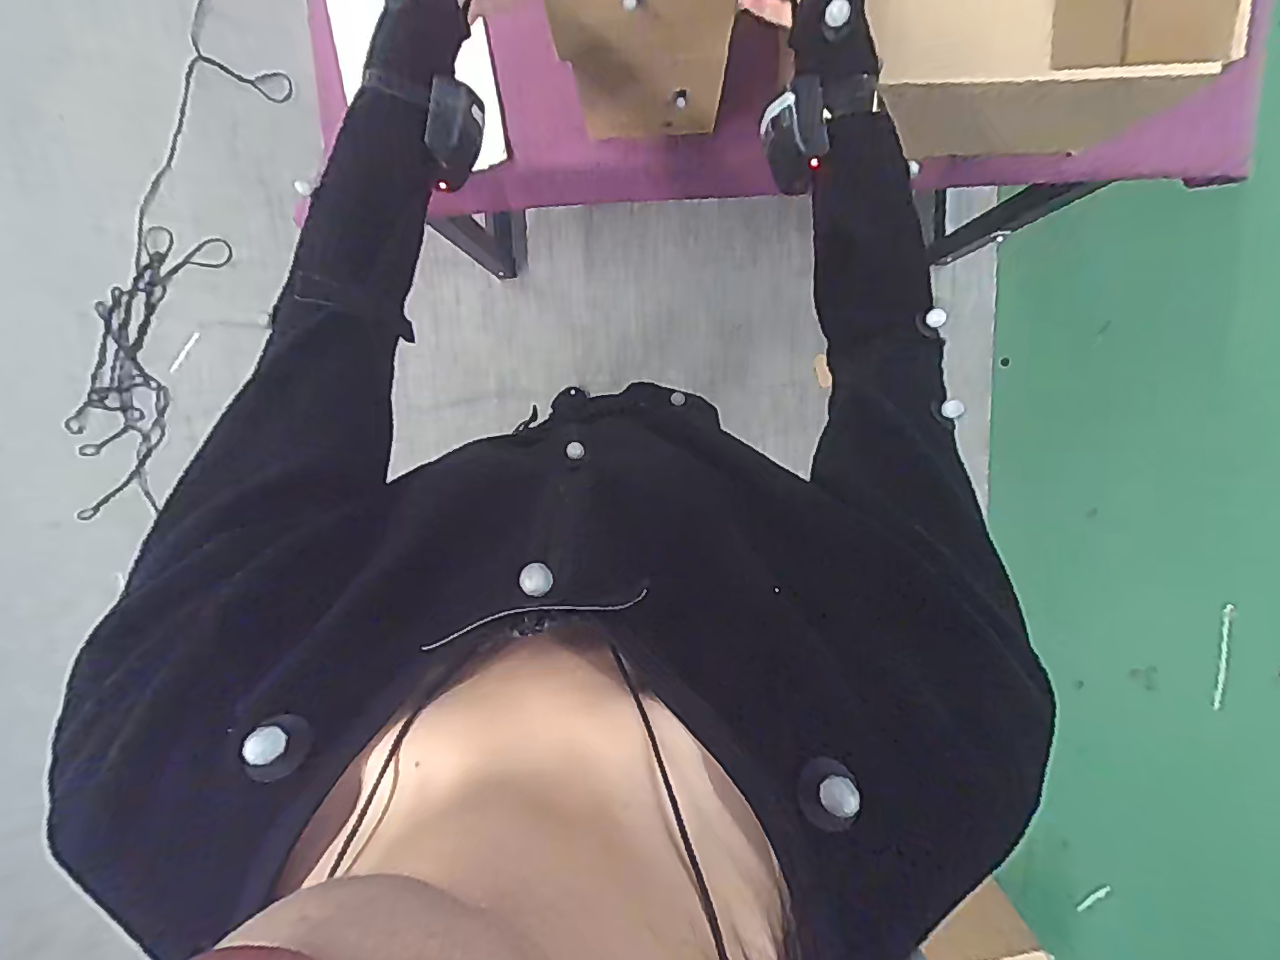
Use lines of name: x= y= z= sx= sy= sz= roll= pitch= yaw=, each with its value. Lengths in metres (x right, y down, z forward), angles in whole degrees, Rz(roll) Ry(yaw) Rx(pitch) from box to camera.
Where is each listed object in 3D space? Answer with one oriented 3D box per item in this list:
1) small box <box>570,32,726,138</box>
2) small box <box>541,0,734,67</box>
small box: x=0.010 y=-0.525 z=0.627 sx=0.168 sy=0.176 sz=0.179 roll=-1 pitch=96 yaw=2
small box: x=-0.001 y=-0.496 z=0.467 sx=0.179 sy=0.176 sz=0.168 roll=-1 pitch=96 yaw=2
